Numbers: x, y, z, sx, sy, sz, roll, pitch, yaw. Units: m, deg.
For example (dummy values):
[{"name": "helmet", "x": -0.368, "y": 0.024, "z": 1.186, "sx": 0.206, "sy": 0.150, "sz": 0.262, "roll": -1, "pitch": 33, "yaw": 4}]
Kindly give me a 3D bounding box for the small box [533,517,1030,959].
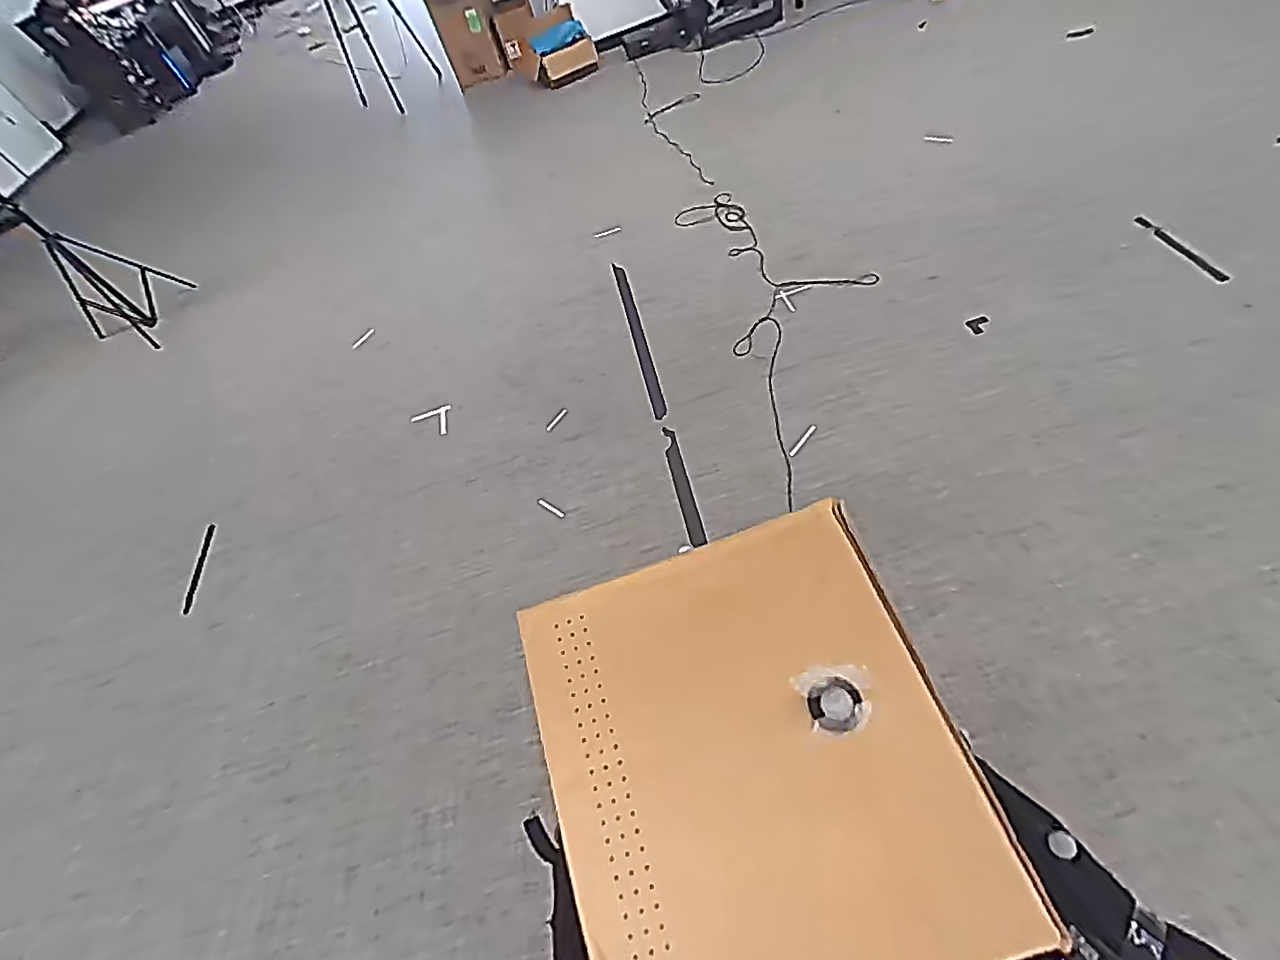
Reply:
[{"name": "small box", "x": 0.054, "y": 0.150, "z": 0.306, "sx": 0.176, "sy": 0.168, "sz": 0.179, "roll": -21, "pitch": 64, "yaw": 3}]
